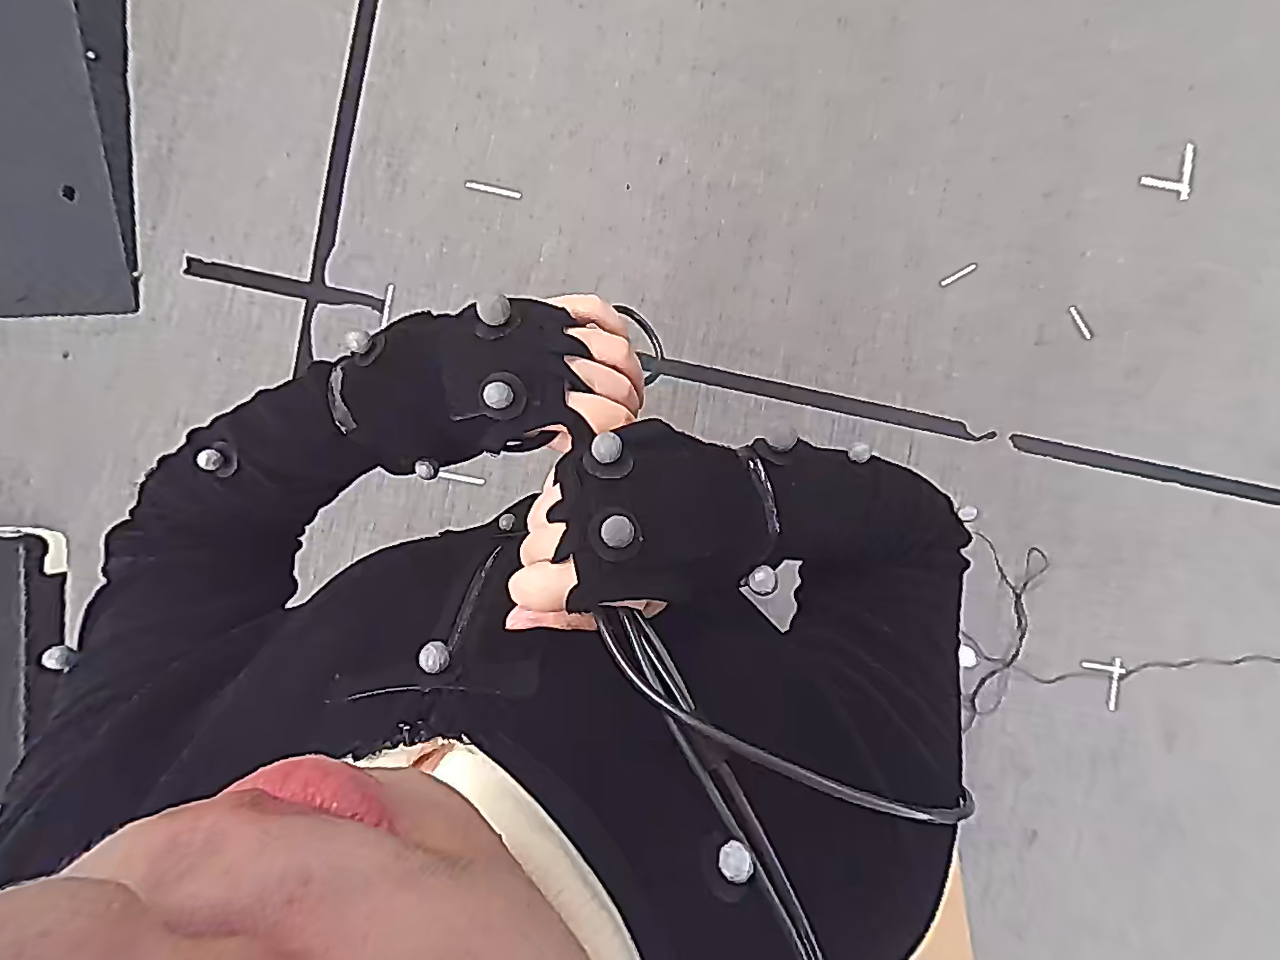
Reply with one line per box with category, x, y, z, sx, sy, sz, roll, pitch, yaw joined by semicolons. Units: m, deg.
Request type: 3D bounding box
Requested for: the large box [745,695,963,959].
large box;0.448;0.756;1.201;0.320;0.320;0.408;-9;91;-3
